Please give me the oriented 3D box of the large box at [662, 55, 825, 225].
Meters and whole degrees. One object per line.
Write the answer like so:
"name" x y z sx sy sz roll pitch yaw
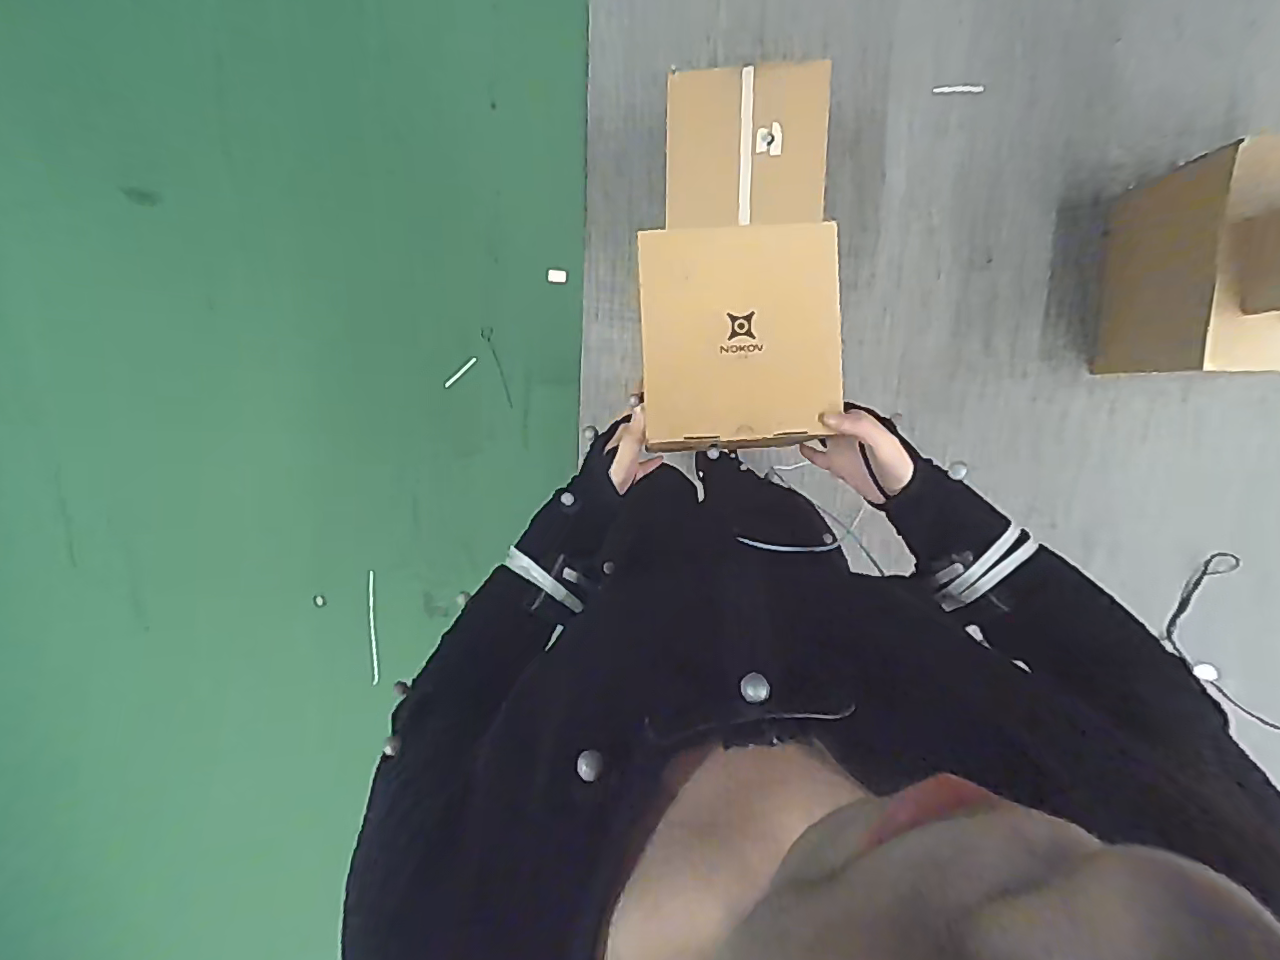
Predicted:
"large box" 0.223 -0.631 1.215 0.320 0.320 0.408 2 98 7

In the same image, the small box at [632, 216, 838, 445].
"small box" 0.077 -0.127 0.520 0.168 0.176 0.179 -4 93 1
